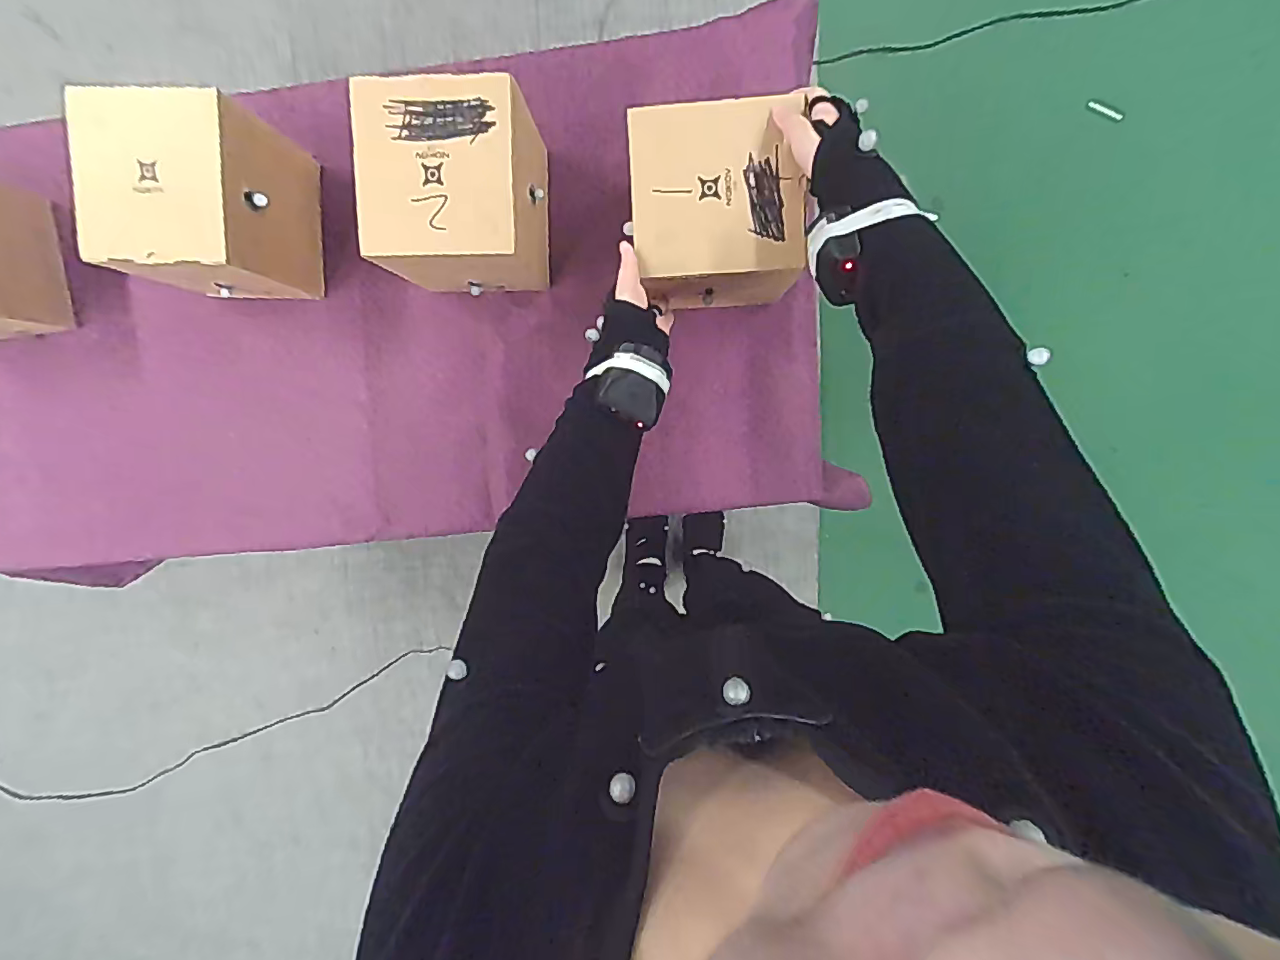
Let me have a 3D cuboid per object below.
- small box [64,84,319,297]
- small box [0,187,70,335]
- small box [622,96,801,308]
[{"bbox_3d":[-0.514,-0.330,0.645,0.168,0.176,0.179,3,98,3],"label":"small box"},{"bbox_3d":[-0.878,-0.281,0.666,0.168,0.176,0.179,-5,97,3],"label":"small box"},{"bbox_3d":[0.076,-0.298,0.616,0.179,0.176,0.168,-2,96,5],"label":"small box"}]
